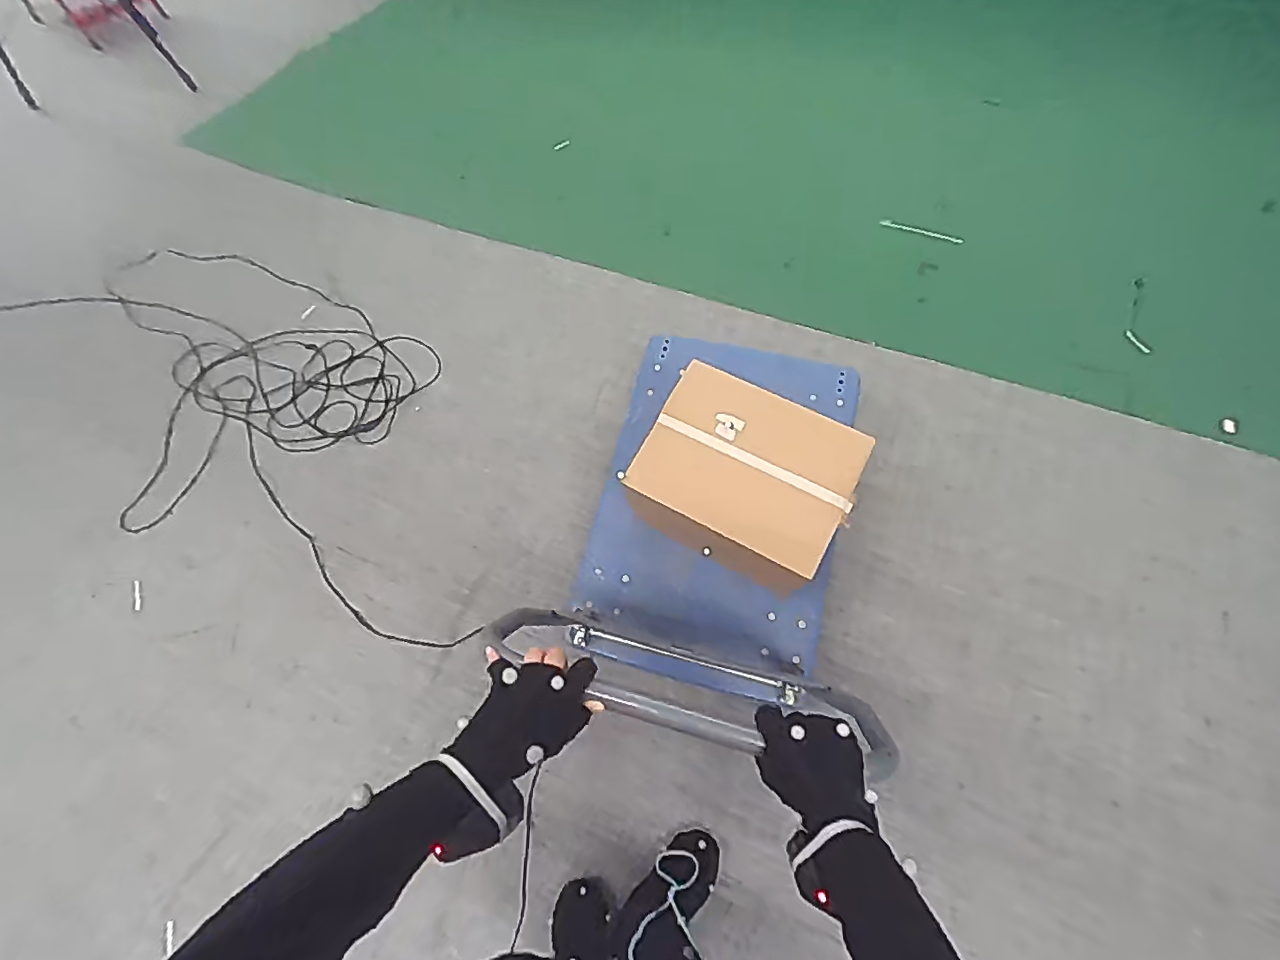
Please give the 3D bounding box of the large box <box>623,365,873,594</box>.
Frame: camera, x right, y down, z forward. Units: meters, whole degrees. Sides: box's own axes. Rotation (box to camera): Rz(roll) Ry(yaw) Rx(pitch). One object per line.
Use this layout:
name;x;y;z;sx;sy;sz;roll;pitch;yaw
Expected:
large box;0.226;0.014;1.198;0.408;0.320;0.320;27;76;14
